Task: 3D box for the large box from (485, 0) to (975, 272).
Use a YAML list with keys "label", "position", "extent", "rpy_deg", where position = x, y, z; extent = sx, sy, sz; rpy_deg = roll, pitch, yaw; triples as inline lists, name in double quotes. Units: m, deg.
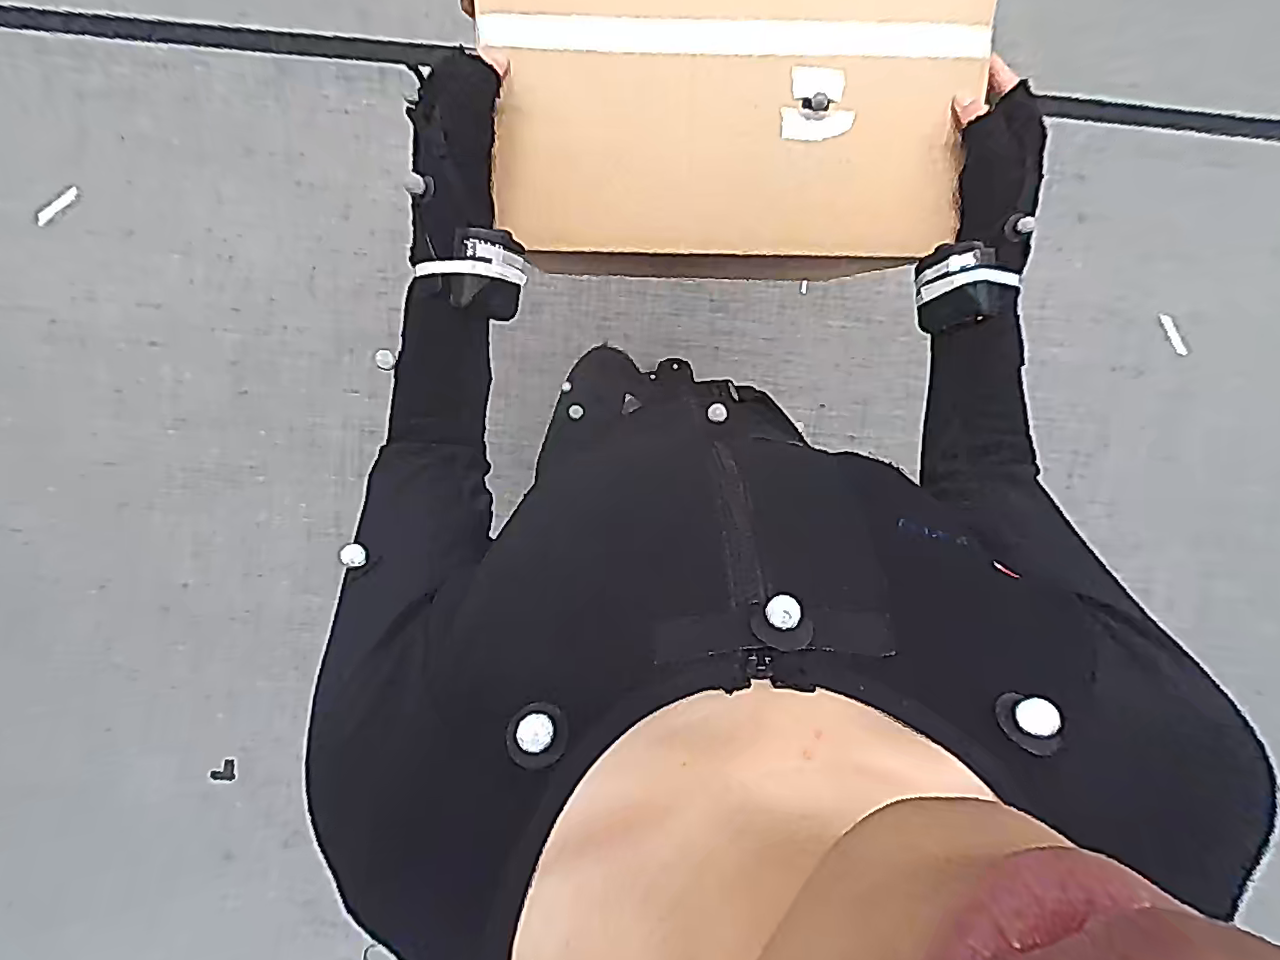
- label: "large box"
  position: [0.068, -0.404, 0.586]
  extent: [0.408, 0.320, 0.320]
  rpy_deg: [0, 108, -2]
